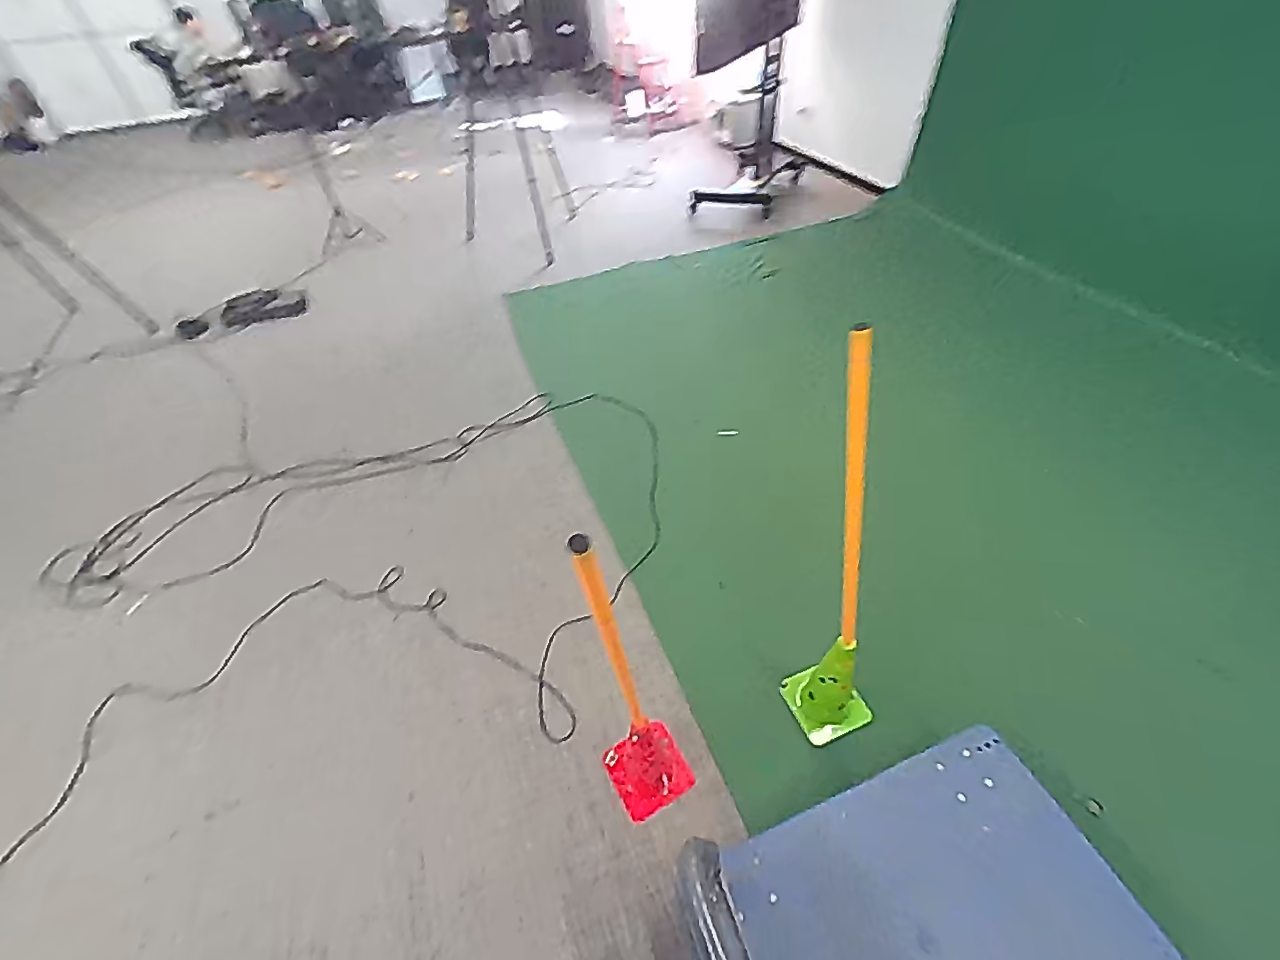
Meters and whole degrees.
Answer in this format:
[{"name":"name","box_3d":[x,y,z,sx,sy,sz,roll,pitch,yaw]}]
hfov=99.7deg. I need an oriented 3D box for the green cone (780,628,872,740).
[{"name":"green cone","box_3d":[0.526,0.507,1.443,0.202,0.368,0.200,-18,47,-13]}]
